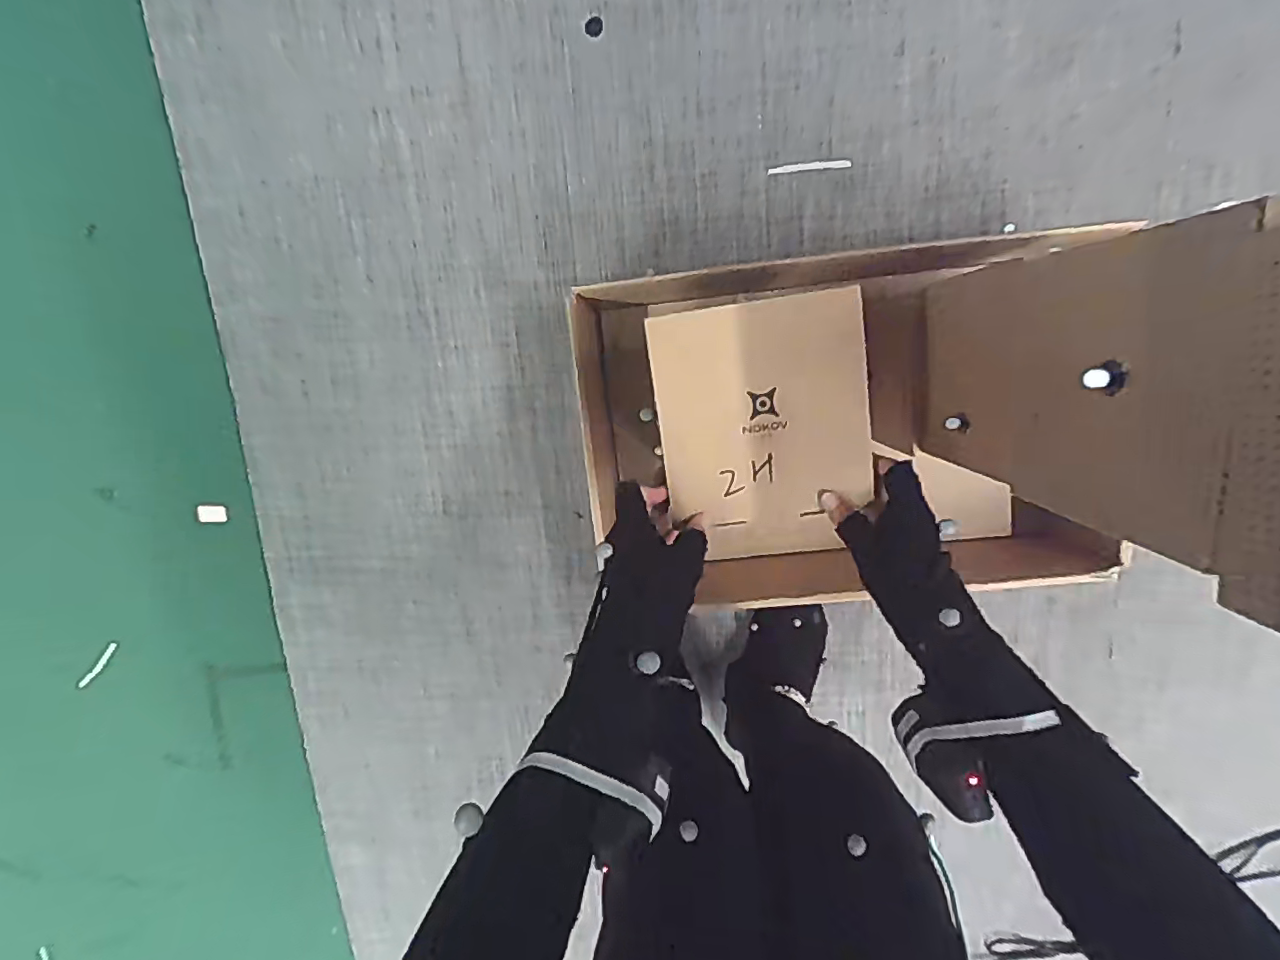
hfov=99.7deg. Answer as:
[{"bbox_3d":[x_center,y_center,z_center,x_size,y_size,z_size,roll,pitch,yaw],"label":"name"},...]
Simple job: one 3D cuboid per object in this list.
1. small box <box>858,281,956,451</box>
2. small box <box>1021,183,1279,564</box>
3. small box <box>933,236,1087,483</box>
[{"bbox_3d":[0.370,-0.144,0.637,0.168,0.176,0.179,-9,102,7],"label":"small box"},{"bbox_3d":[0.360,-0.066,0.319,0.168,0.176,0.179,-5,103,4],"label":"small box"},{"bbox_3d":[0.371,-0.106,0.460,0.168,0.176,0.179,-5,103,6],"label":"small box"}]
